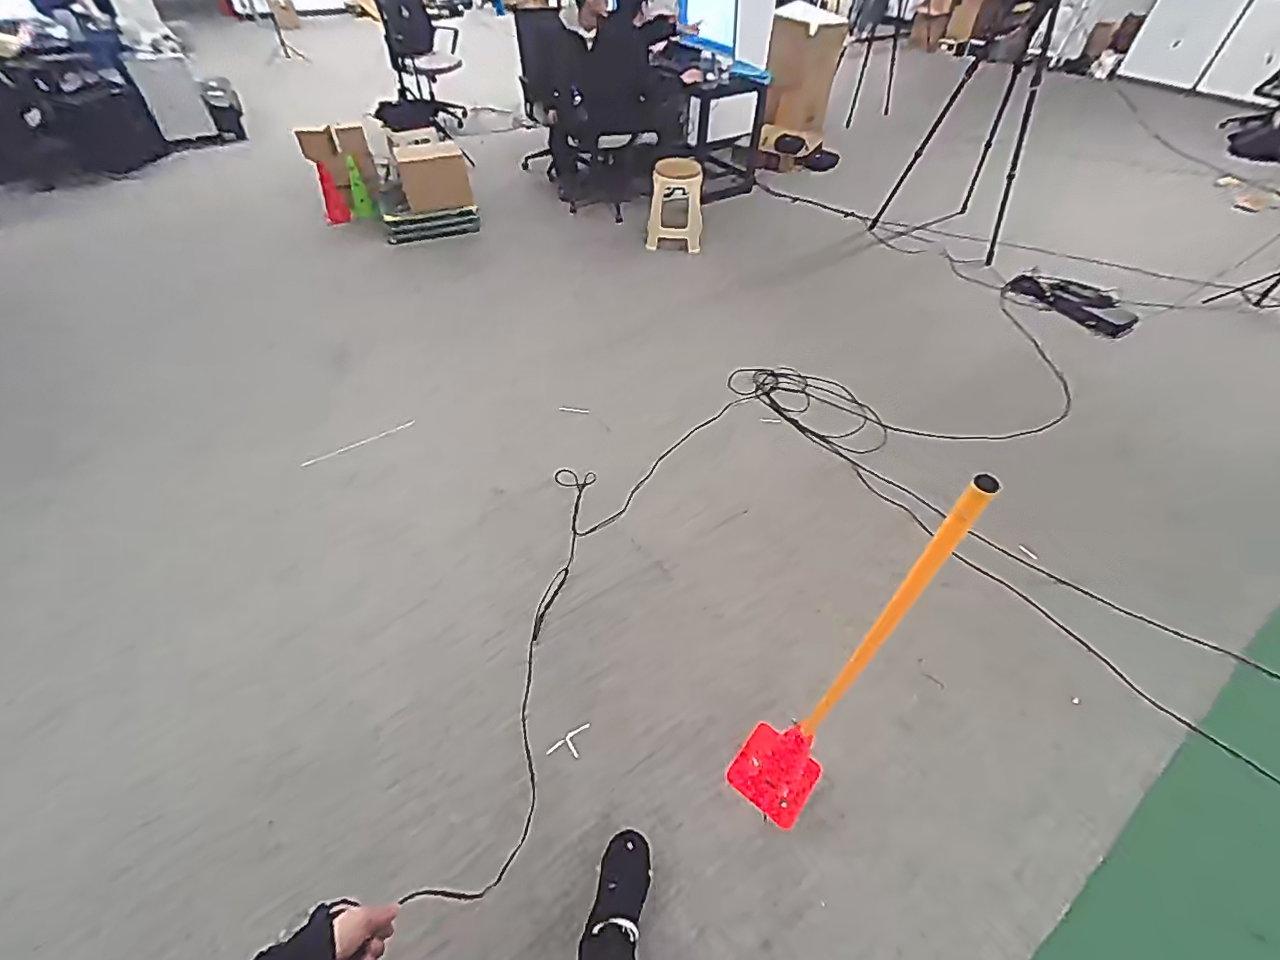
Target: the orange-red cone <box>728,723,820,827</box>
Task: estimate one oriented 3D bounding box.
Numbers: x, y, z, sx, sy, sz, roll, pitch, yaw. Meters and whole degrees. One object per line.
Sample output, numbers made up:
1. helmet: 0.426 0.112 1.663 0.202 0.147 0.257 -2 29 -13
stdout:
1. orange-red cone: 0.367 0.672 1.326 0.198 0.360 0.199 34 54 25
